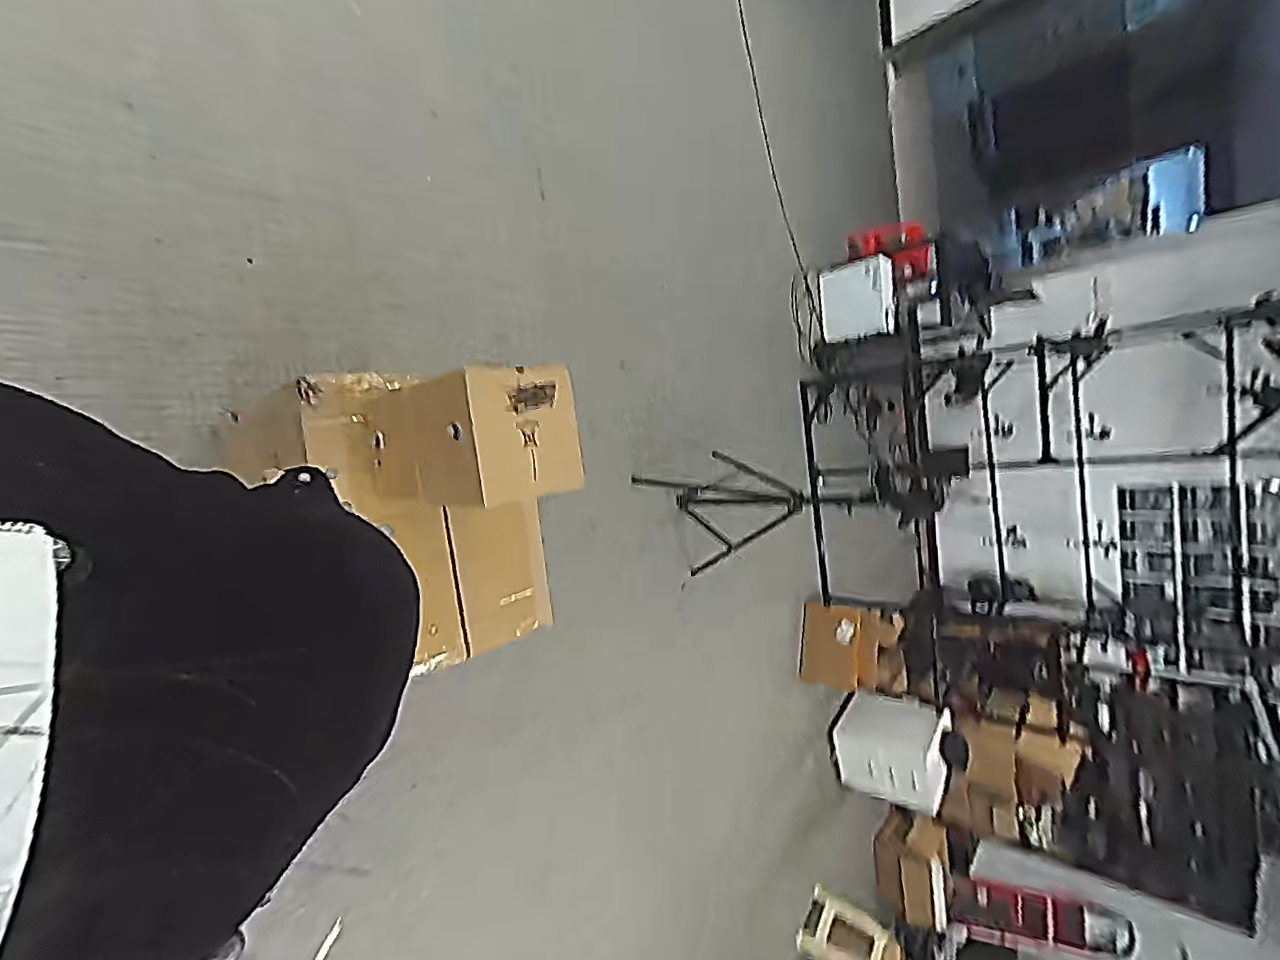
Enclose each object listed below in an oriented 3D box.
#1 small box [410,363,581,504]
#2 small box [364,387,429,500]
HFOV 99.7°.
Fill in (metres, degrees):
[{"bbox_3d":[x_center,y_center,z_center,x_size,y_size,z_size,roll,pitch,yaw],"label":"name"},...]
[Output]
[{"bbox_3d":[-0.208,-0.064,0.772,0.168,0.176,0.179,-12,98,-45],"label":"small box"},{"bbox_3d":[-0.325,-0.061,0.888,0.179,0.176,0.168,-11,96,-44],"label":"small box"}]
